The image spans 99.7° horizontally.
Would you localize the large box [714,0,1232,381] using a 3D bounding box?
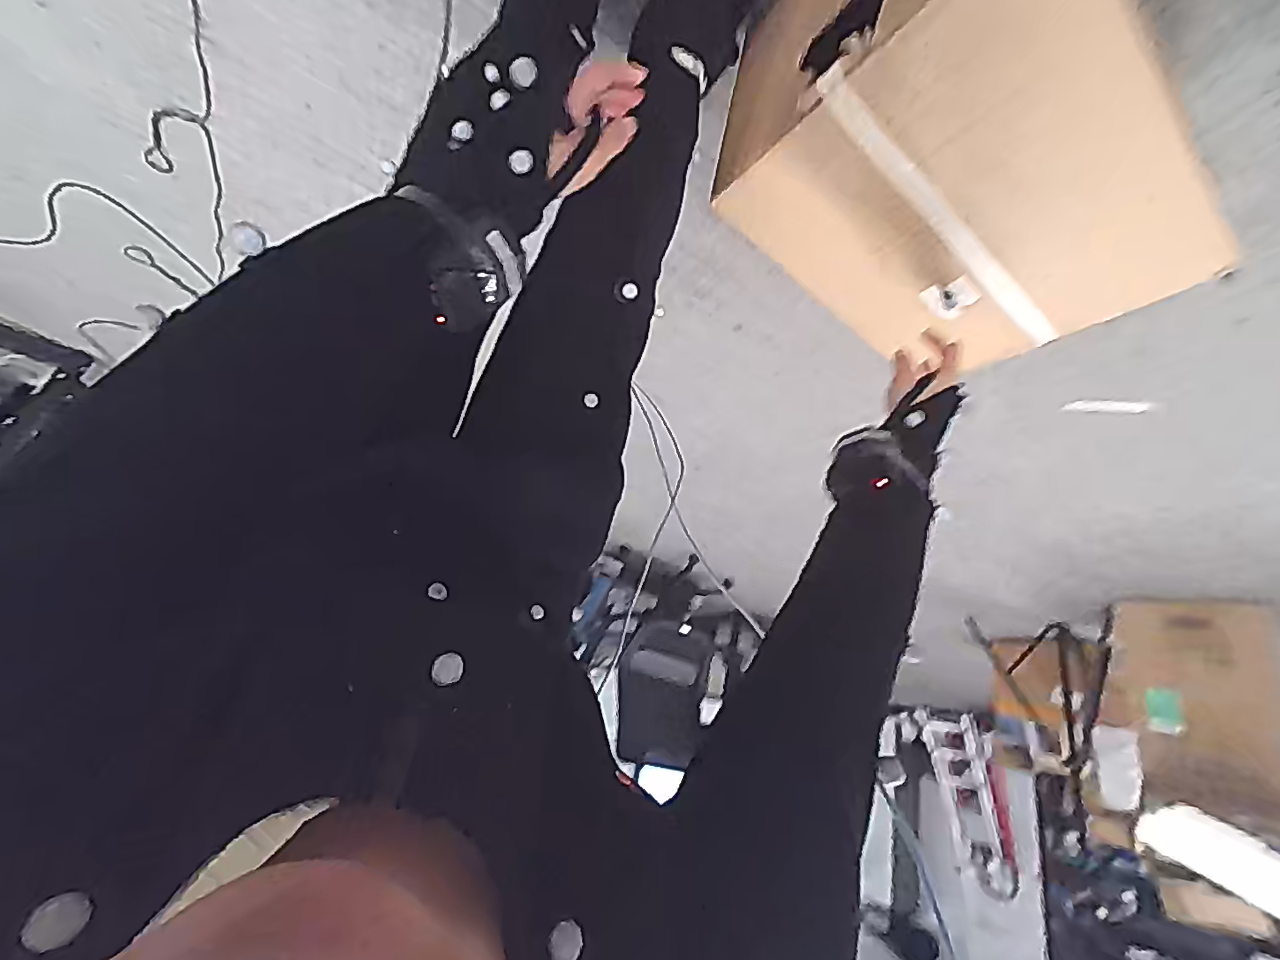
[{"bbox_3d":[0.344,-0.380,0.602,0.408,0.320,0.320,25,153,-28],"label":"large box"}]
